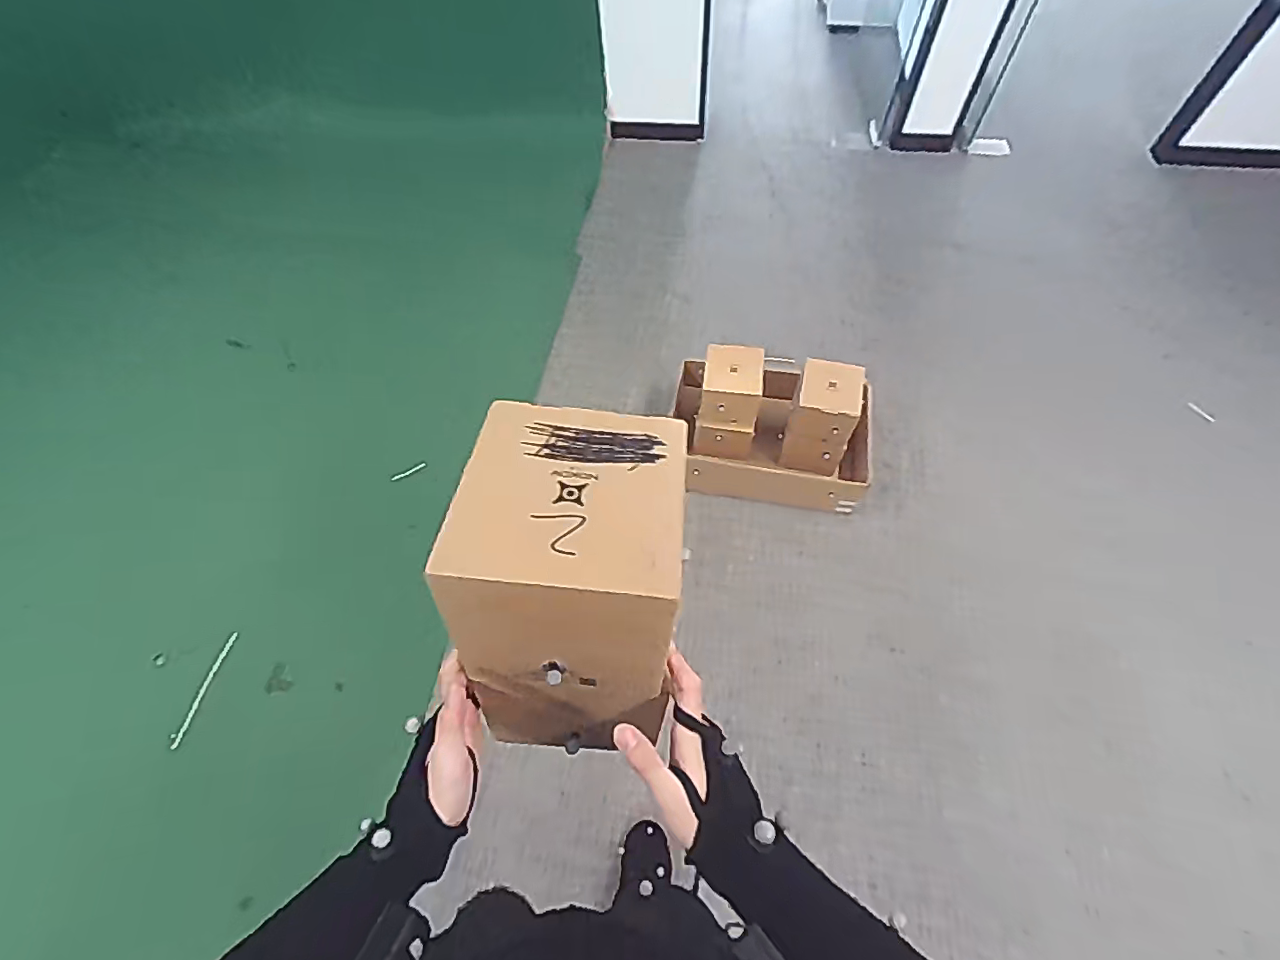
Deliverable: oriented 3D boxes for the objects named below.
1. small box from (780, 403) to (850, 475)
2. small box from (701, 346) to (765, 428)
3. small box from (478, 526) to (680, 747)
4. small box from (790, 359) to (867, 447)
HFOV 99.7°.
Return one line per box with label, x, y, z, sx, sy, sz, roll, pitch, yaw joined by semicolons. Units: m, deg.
small box;0.549;-0.133;1.694;0.179;0.176;0.168;11;62;10
small box;0.273;-0.272;1.605;0.168;0.176;0.179;6;61;6
small box;-0.056;0.172;0.582;0.179;0.176;0.168;6;46;-1
small box;0.537;-0.216;1.555;0.168;0.176;0.179;12;62;9
